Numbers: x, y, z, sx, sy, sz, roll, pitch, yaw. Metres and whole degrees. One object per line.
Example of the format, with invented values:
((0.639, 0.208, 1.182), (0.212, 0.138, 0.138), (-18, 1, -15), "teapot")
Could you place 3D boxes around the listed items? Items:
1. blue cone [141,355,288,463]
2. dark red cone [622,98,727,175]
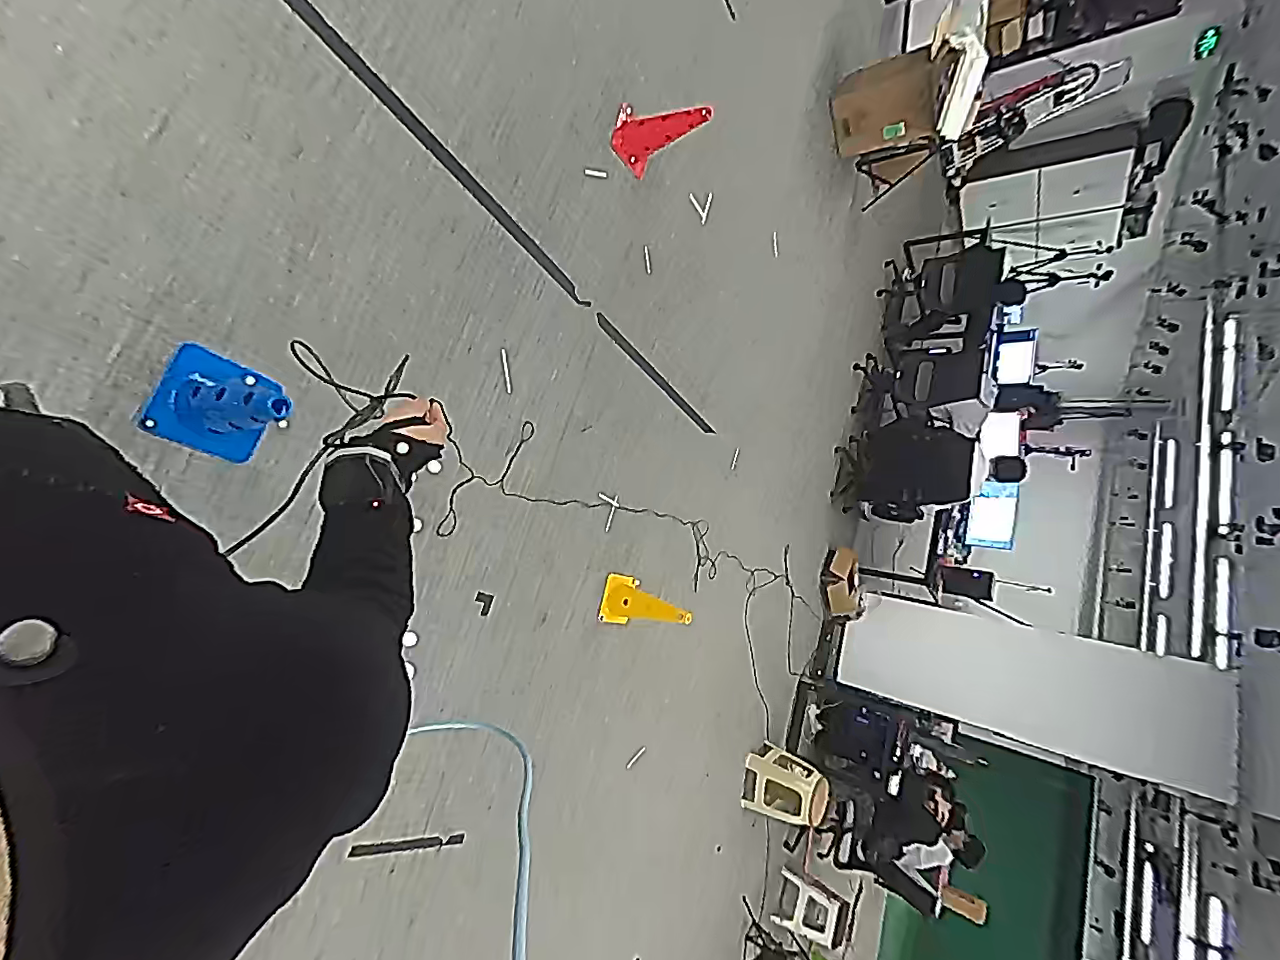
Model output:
((-0.759, -0.129, 1.027), (0.193, 0.380, 0.192), (36, 68, -49), "blue cone")
((0.137, -1.303, 1.985), (0.202, 0.394, 0.201), (24, 77, -52), "dark red cone")
